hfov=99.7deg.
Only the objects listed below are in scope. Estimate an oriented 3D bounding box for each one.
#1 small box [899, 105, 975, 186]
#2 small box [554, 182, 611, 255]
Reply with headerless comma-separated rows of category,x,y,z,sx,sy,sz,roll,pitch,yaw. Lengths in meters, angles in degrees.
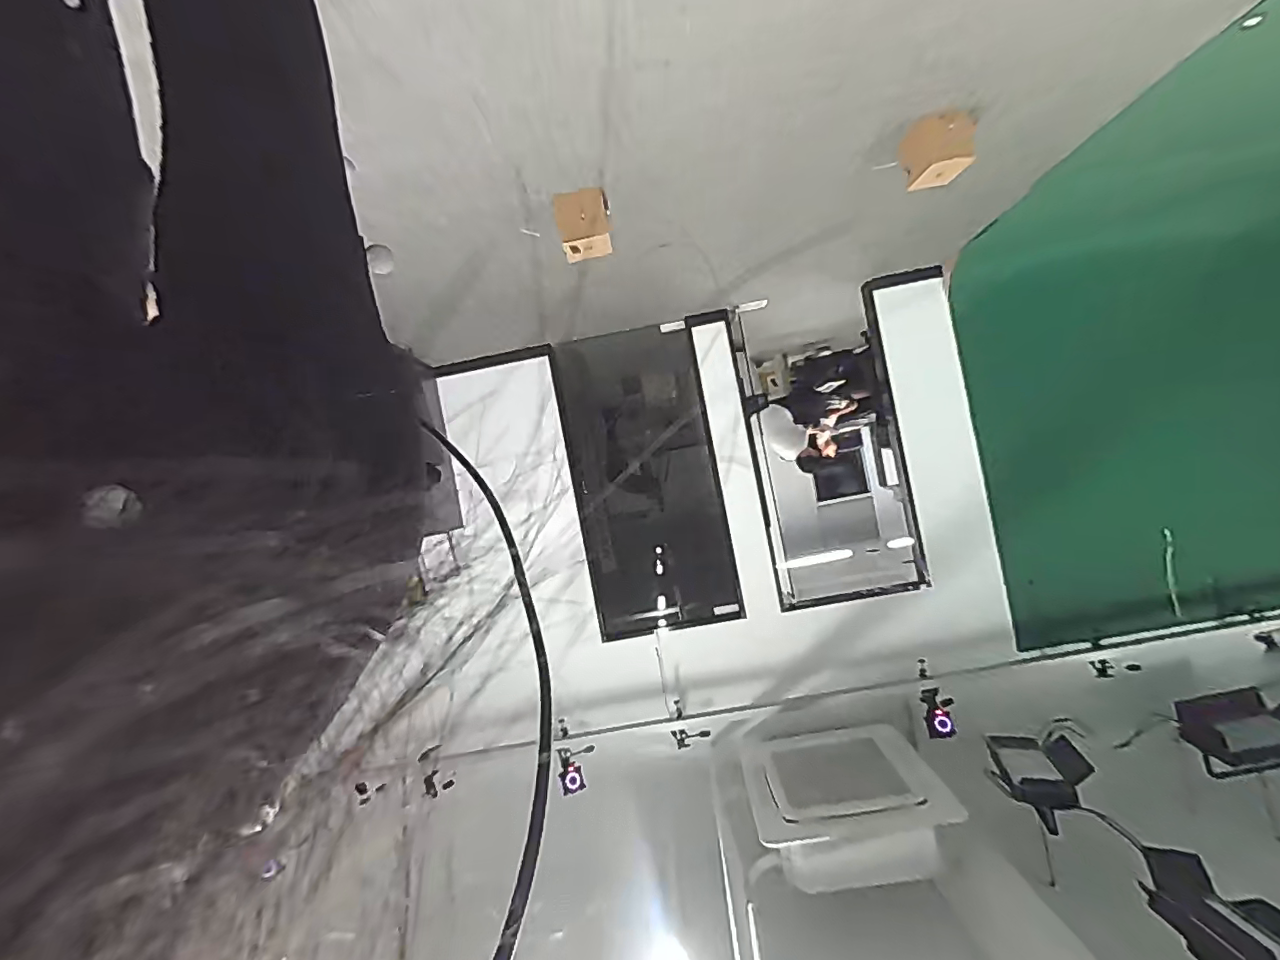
small box,1.040,-1.177,1.906,0.168,0.176,0.179,-11,180,-3
small box,-0.209,-0.952,1.968,0.179,0.176,0.168,-11,180,1
